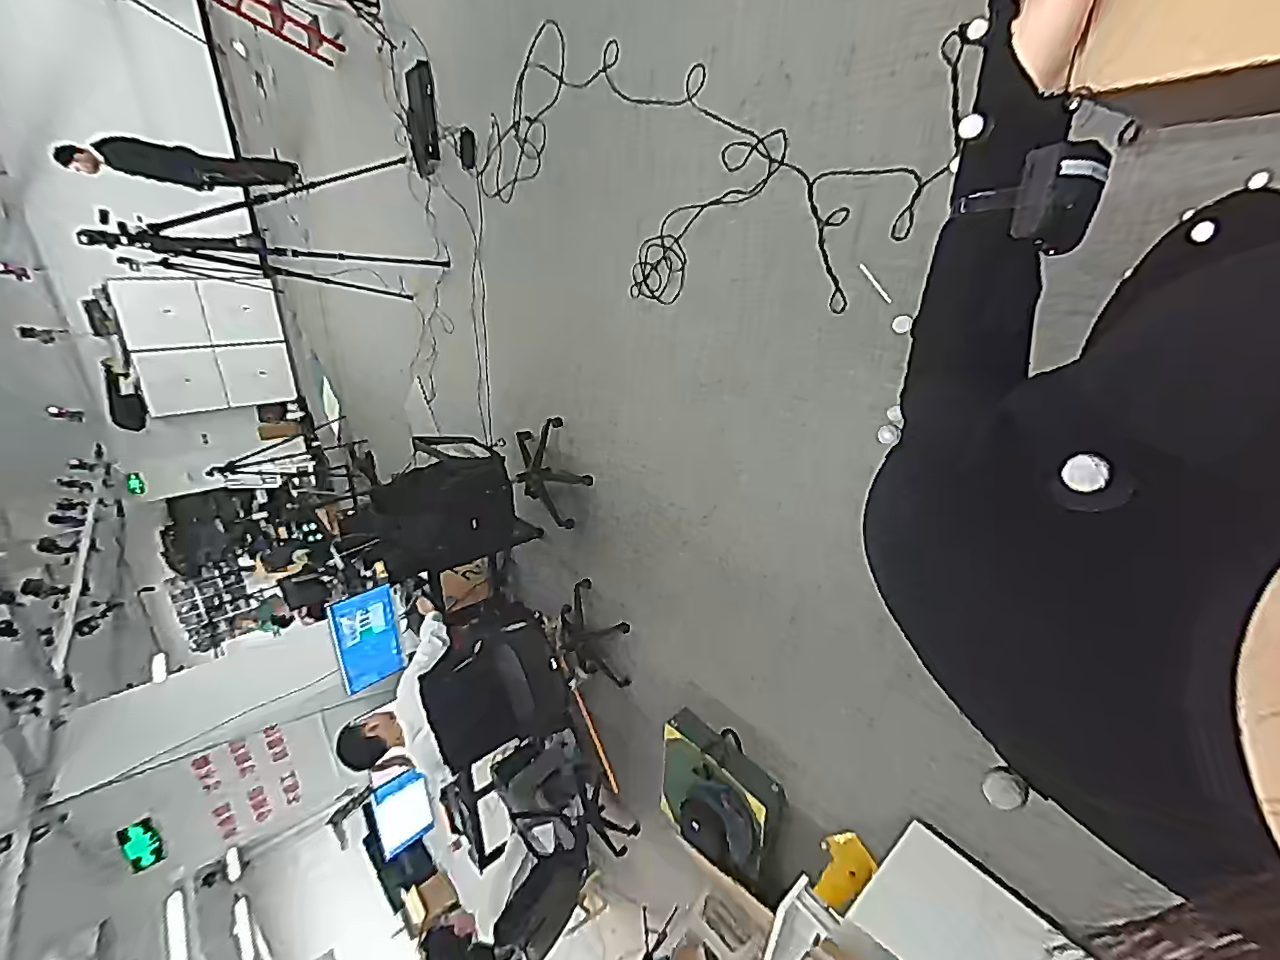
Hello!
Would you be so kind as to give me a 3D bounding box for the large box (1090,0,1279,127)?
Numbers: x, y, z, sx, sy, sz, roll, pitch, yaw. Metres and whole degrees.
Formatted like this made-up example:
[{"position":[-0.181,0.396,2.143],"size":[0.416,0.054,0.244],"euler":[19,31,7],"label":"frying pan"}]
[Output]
[{"position":[0.542,-0.409,0.273],"size":[0.408,0.320,0.320],"euler":[20,124,43],"label":"large box"}]
